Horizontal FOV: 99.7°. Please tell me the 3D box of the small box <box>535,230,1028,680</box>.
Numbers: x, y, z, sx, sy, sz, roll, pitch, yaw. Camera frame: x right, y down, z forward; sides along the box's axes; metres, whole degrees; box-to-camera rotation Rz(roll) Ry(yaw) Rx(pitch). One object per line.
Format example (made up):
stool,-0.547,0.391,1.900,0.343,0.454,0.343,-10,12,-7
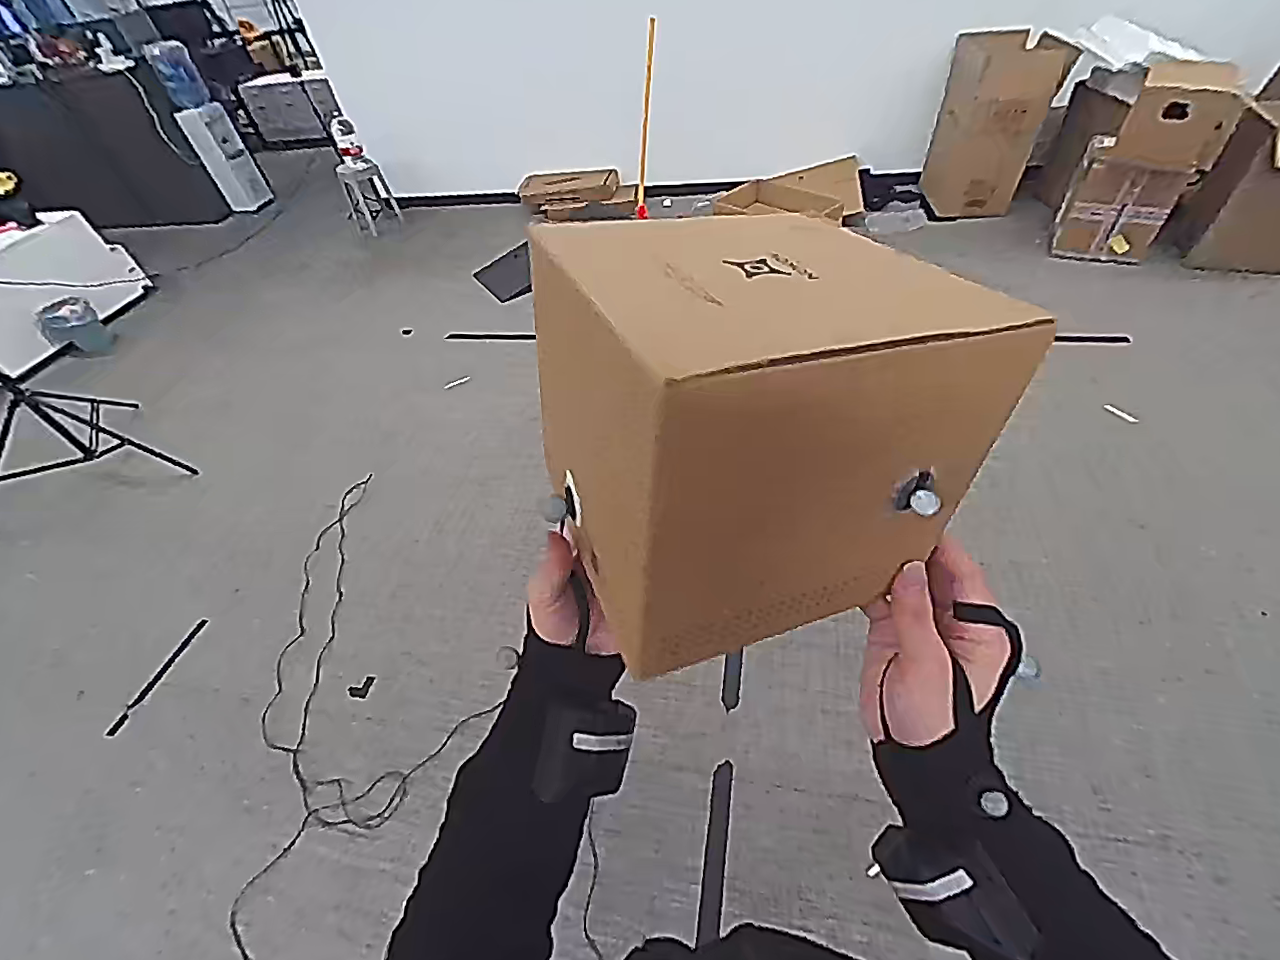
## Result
small box,0.052,-0.024,0.304,0.179,0.176,0.168,-15,42,-19
